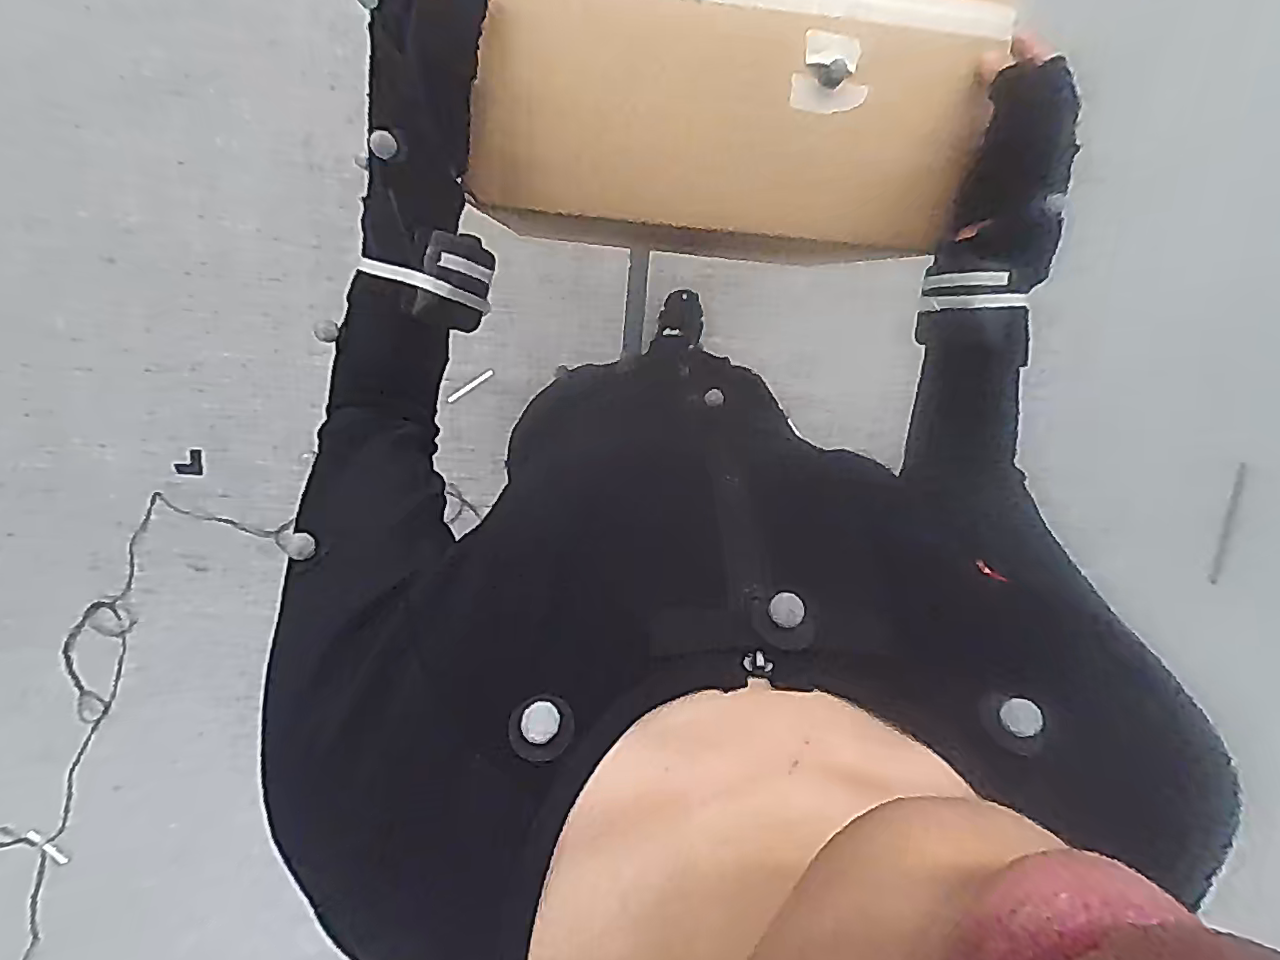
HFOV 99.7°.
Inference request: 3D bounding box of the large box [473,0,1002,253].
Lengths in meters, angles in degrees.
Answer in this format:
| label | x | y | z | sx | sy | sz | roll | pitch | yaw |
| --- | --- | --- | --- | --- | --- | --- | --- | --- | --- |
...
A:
| label | x | y | z | sx | sy | sz | roll | pitch | yaw |
| --- | --- | --- | --- | --- | --- | --- | --- | --- | --- |
| large box | 0.063 | -0.412 | 0.535 | 0.408 | 0.320 | 0.320 | 2 | 110 | -7 |
